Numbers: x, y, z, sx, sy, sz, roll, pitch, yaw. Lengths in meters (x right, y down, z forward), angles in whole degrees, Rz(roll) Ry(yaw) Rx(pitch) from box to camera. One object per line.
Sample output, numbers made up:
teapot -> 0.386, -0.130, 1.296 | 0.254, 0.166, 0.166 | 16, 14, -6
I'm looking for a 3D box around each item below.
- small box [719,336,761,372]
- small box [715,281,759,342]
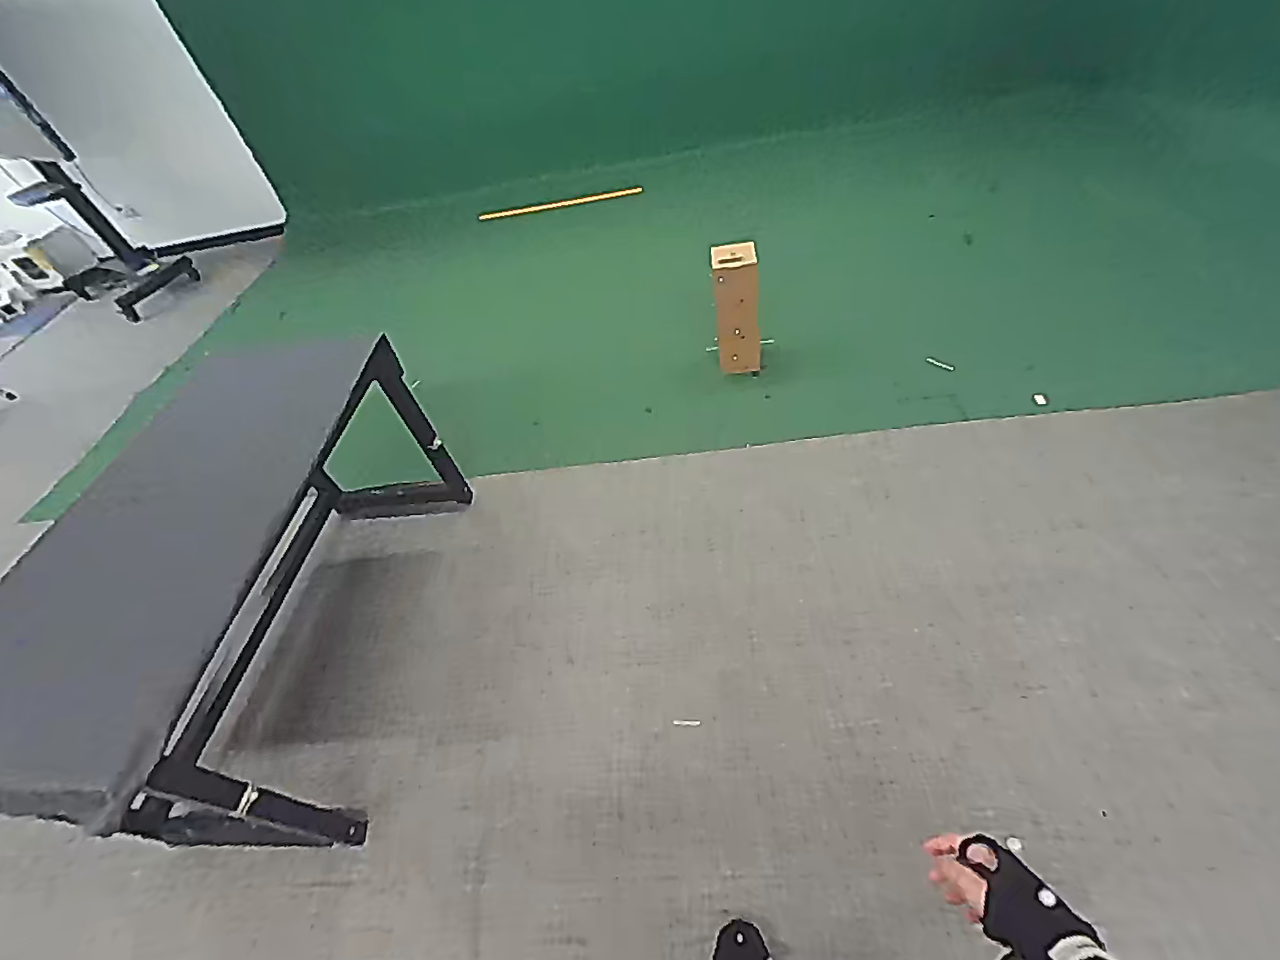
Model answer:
small box -> 0.434, -0.586, 2.352 | 0.168, 0.176, 0.179 | -7, 47, 9
small box -> 0.400, -0.694, 2.232 | 0.168, 0.176, 0.179 | -5, 48, 11
